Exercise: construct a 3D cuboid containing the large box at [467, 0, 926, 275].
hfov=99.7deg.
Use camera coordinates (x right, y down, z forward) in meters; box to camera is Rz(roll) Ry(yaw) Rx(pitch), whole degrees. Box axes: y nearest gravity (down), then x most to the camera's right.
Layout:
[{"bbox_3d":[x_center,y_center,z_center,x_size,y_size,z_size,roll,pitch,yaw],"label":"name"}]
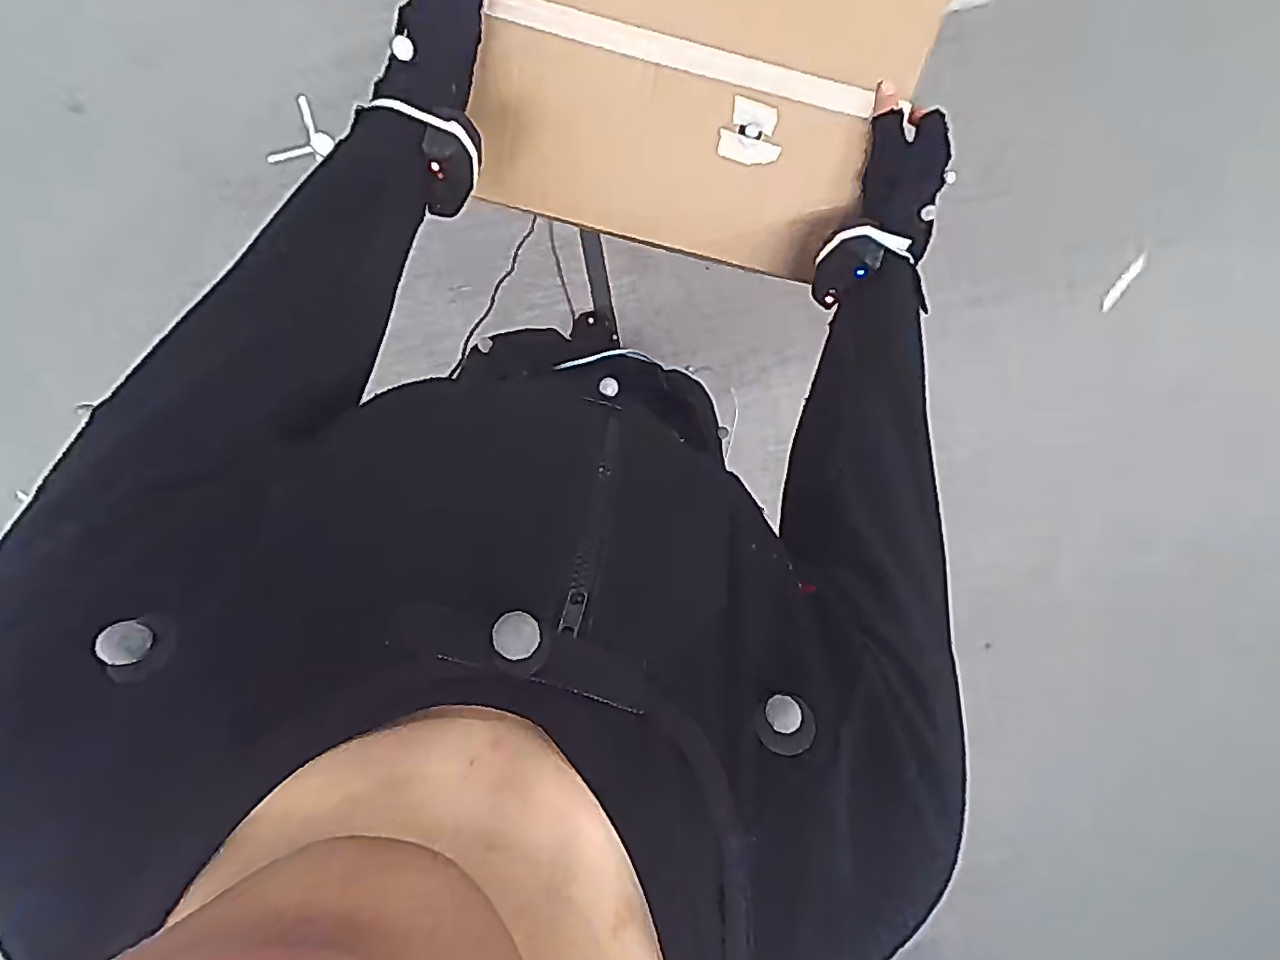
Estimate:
[{"bbox_3d":[0.045,-0.449,0.641,0.408,0.320,0.320,11,114,-5],"label":"large box"}]
